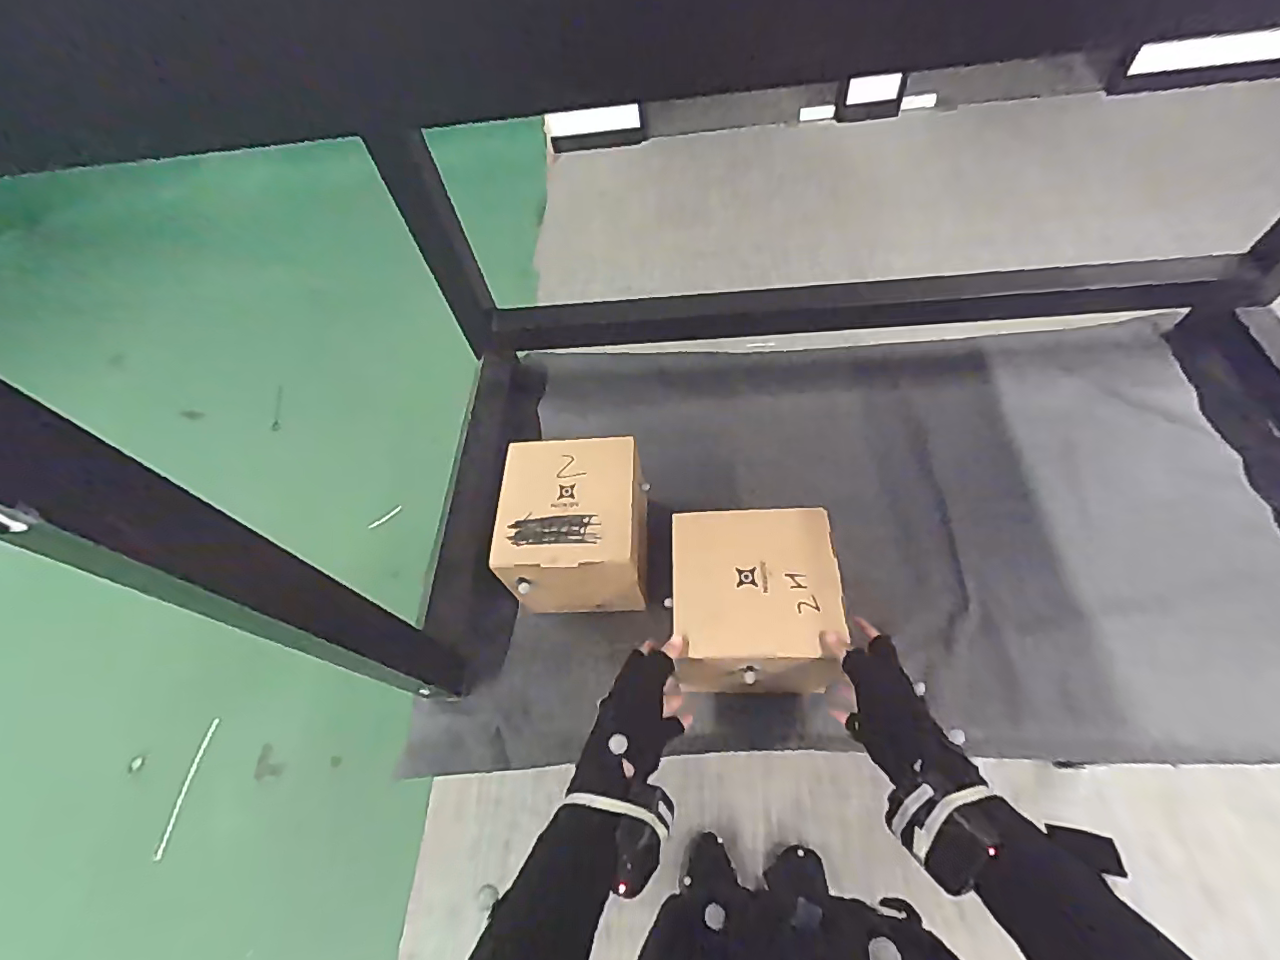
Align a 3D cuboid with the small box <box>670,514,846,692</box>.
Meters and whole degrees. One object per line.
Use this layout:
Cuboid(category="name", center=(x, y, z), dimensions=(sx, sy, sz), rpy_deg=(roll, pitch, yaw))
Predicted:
Cuboid(category="small box", center=(0.130, 0.153, 0.649), dimensions=(0.179, 0.176, 0.168), rpy_deg=(-2, 58, 6))
